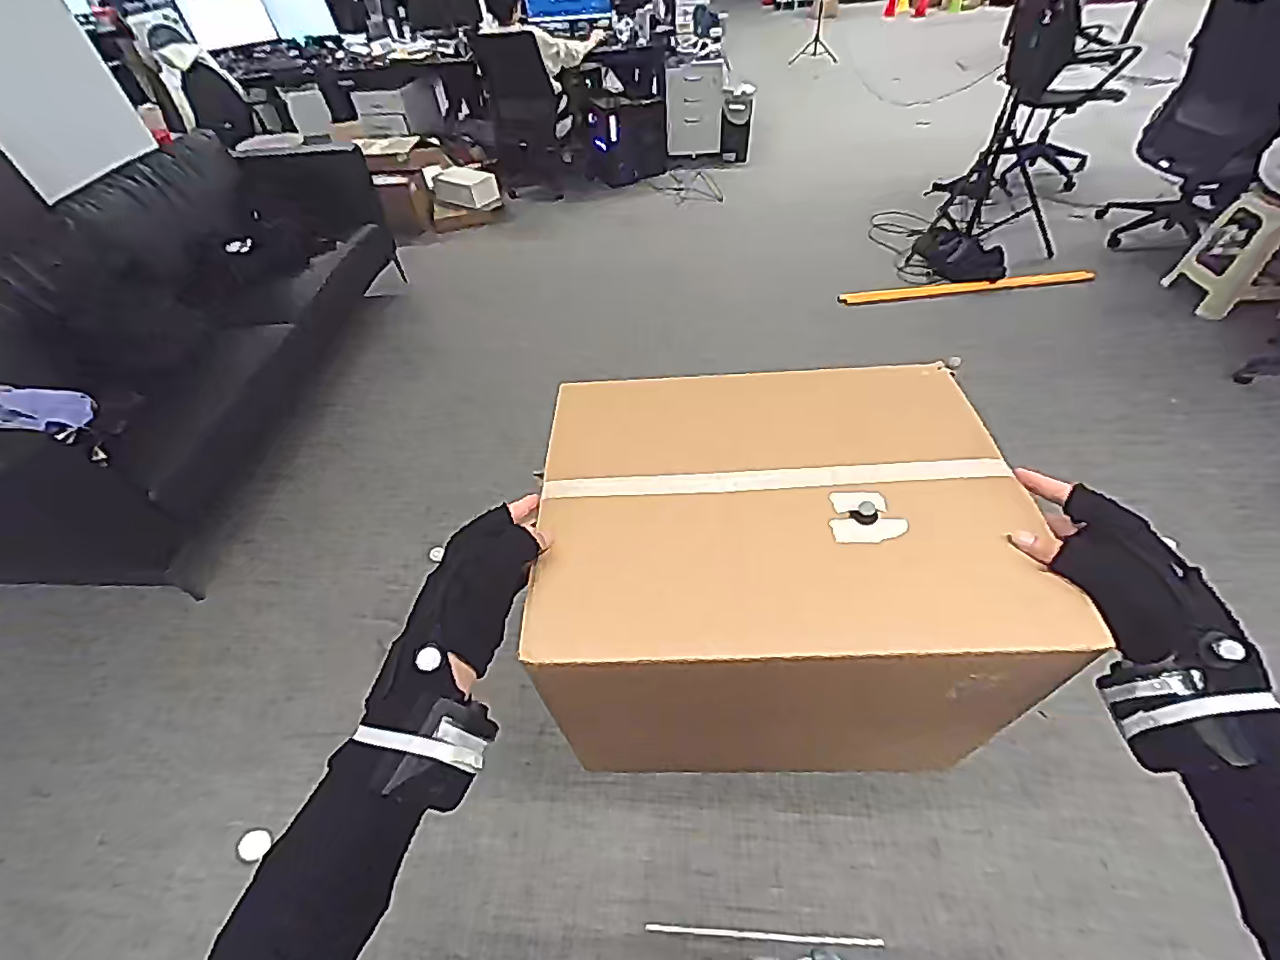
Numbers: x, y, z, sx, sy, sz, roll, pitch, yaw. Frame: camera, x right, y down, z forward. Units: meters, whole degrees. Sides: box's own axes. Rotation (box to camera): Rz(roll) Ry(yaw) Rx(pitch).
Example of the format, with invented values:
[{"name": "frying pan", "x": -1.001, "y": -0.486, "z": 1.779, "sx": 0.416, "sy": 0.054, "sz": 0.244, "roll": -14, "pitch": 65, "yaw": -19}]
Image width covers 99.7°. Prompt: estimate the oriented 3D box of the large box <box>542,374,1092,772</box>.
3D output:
[{"name": "large box", "x": 0.130, "y": 0.109, "z": 0.596, "sx": 0.408, "sy": 0.320, "sz": 0.320, "roll": -2, "pitch": 49, "yaw": 3}]
